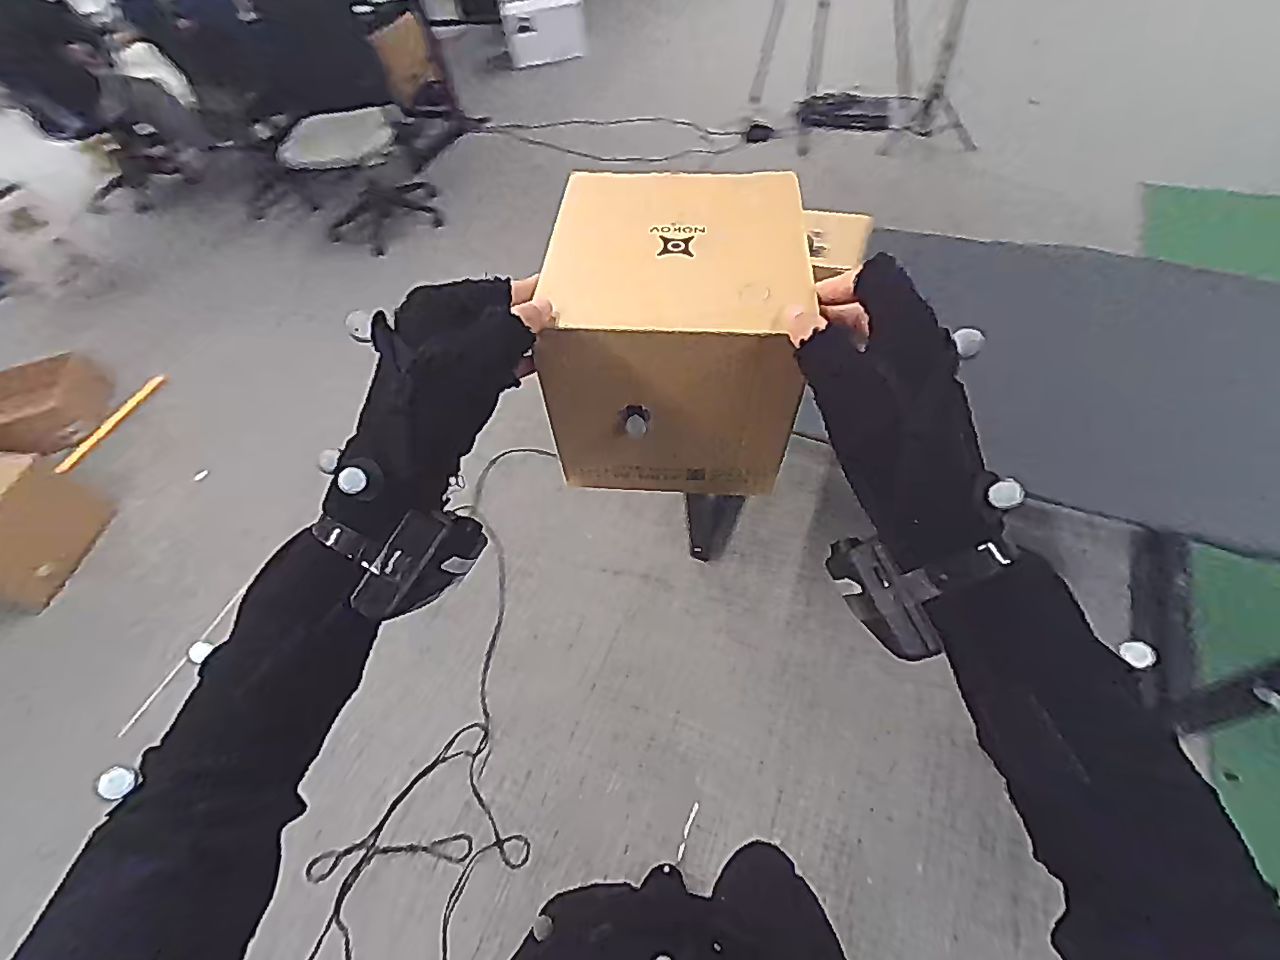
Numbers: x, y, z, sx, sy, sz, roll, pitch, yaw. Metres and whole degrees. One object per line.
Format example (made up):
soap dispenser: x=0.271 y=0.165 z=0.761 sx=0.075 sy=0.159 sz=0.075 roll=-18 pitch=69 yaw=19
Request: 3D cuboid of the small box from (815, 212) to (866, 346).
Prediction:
small box: x=0.306 y=-0.373 z=1.004 sx=0.168 sy=0.176 sz=0.179 roll=14 pitch=56 yaw=17

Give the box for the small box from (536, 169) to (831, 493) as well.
small box: x=0.034 y=-0.106 z=0.406 sx=0.168 sy=0.176 sz=0.179 roll=3 pitch=54 yaw=5
